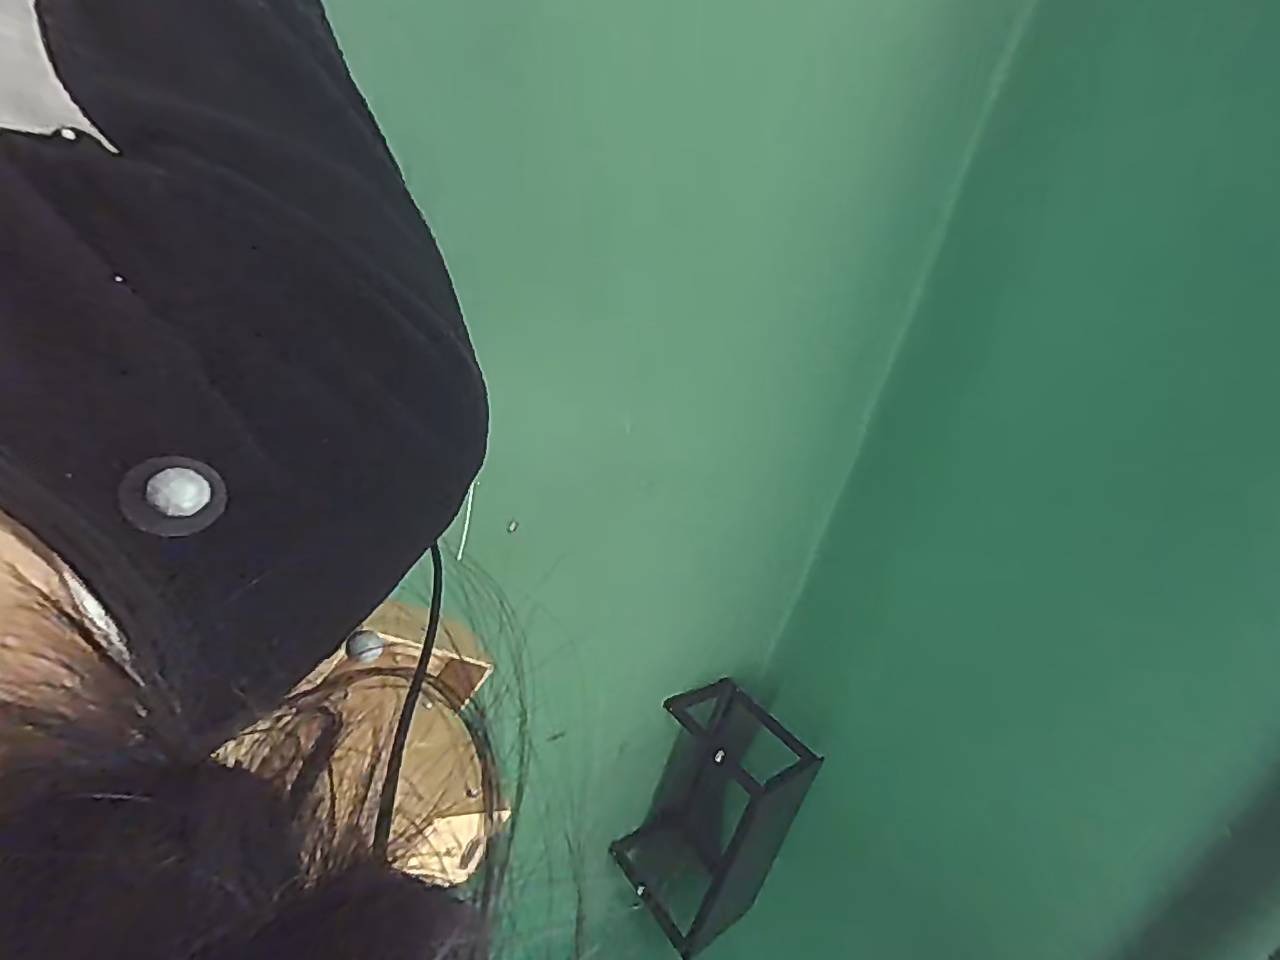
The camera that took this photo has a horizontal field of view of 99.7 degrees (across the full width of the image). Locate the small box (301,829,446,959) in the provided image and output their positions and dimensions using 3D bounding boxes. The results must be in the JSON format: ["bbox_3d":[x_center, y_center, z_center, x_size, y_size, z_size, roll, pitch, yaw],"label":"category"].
[{"bbox_3d":[-0.500,0.788,1.005,0.168,0.176,0.179,21,96,-48],"label":"small box"}]
